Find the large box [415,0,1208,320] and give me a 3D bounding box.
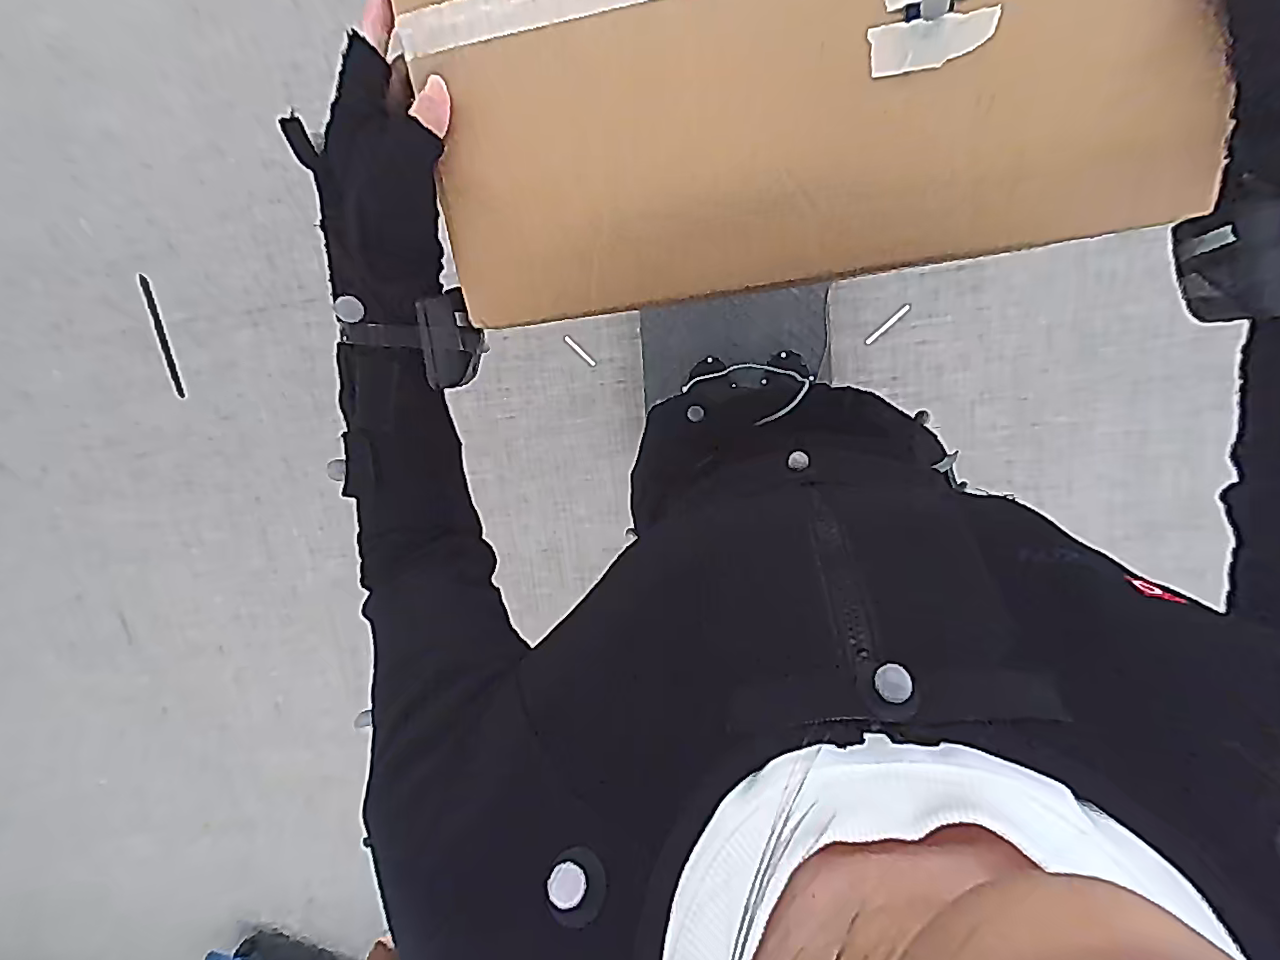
[{"bbox_3d":[0.087,-0.317,0.416,0.408,0.320,0.320,-6,108,9],"label":"large box"}]
